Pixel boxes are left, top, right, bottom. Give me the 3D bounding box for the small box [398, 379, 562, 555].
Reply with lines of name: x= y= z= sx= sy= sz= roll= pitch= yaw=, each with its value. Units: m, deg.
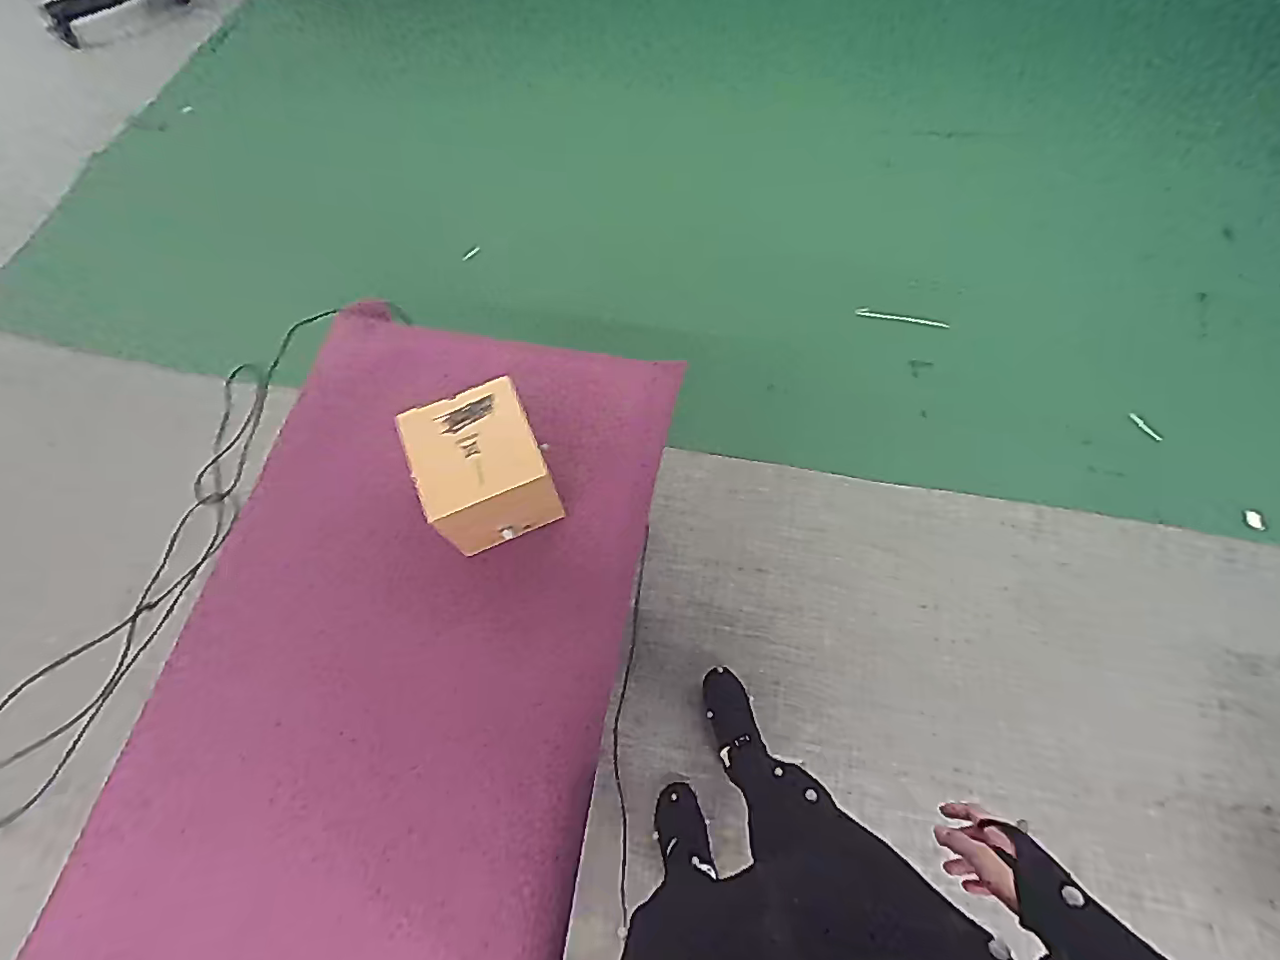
small box: x=-0.228 y=-0.012 z=0.800 sx=0.168 sy=0.176 sz=0.179 roll=-22 pitch=68 yaw=-9
